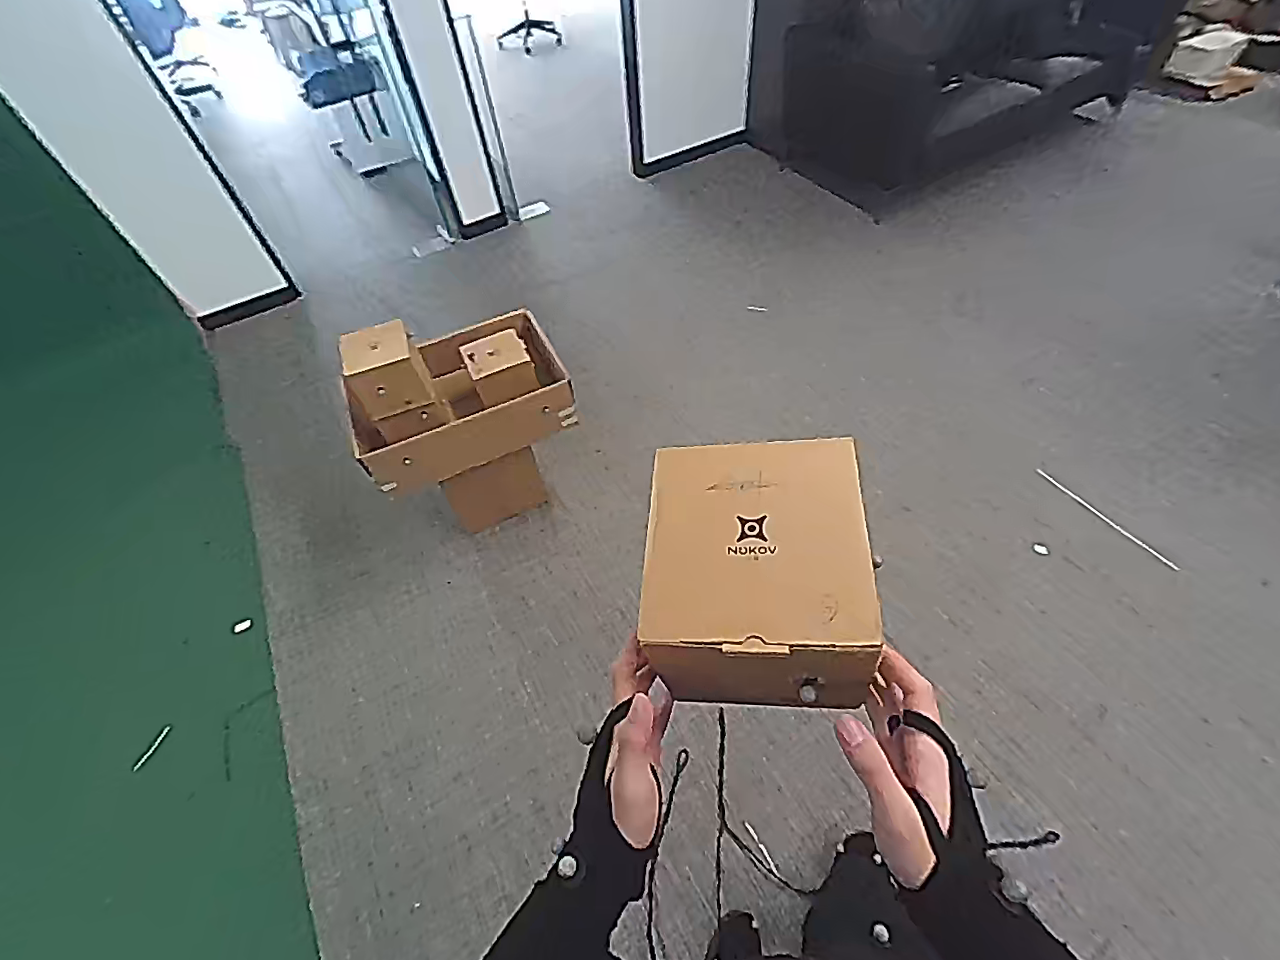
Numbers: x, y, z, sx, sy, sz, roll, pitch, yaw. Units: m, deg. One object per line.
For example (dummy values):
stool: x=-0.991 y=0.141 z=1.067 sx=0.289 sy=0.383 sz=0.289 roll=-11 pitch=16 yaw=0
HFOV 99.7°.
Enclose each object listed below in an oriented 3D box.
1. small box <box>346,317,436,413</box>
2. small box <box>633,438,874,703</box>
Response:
small box: x=-0.667 y=-0.302 z=1.458 sx=0.168 sy=0.176 sz=0.179 roll=-20 pitch=54 yaw=-10
small box: x=0.100 y=0.085 z=0.475 sx=0.168 sy=0.176 sz=0.179 roll=-2 pitch=54 yaw=14
